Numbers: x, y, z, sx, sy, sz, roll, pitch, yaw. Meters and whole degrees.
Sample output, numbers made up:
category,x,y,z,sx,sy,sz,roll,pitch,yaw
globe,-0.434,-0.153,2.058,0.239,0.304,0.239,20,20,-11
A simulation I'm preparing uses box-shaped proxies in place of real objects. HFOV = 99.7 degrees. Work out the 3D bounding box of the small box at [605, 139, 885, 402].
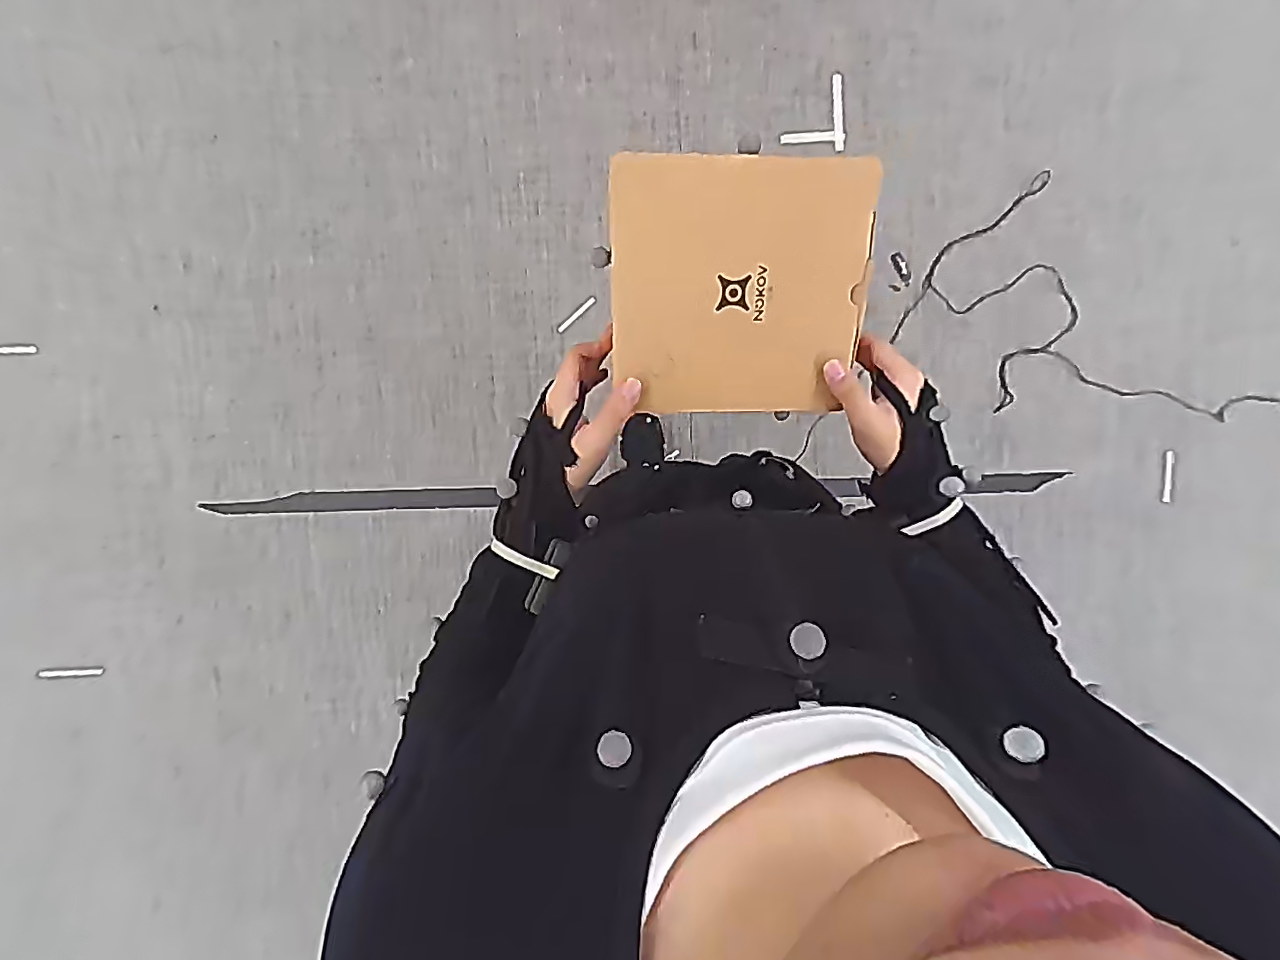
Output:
category,x,y,z,sx,sy,sz,roll,pitch,yaw
small box,0.062,-0.162,0.435,0.179,0.176,0.168,-2,113,-4
